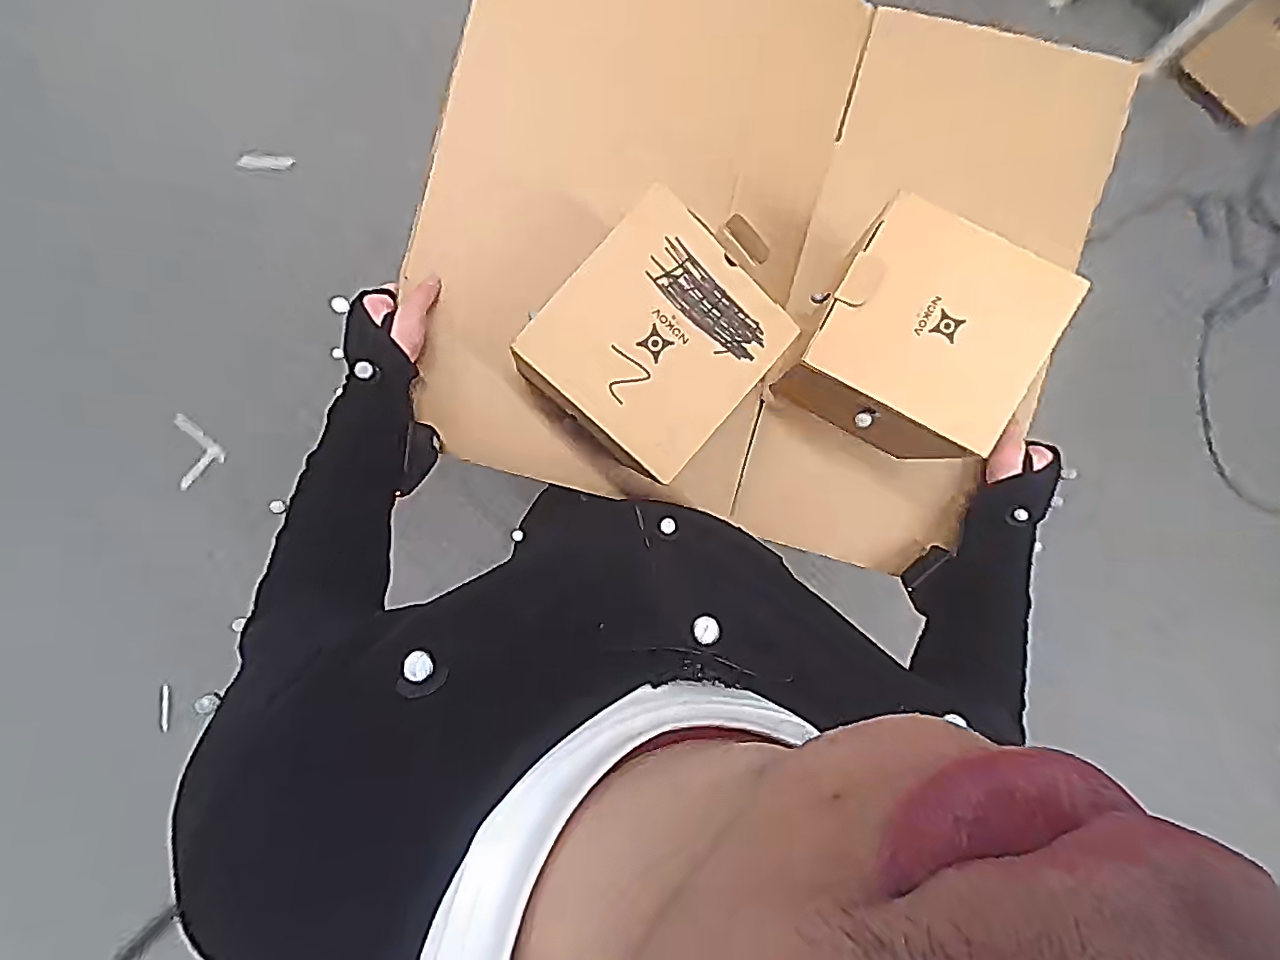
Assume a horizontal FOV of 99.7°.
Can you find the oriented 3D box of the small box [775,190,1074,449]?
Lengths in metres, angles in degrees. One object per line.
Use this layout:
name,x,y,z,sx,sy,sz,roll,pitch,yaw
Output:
small box,0.259,-0.142,0.543,0.179,0.176,0.168,28,94,4
